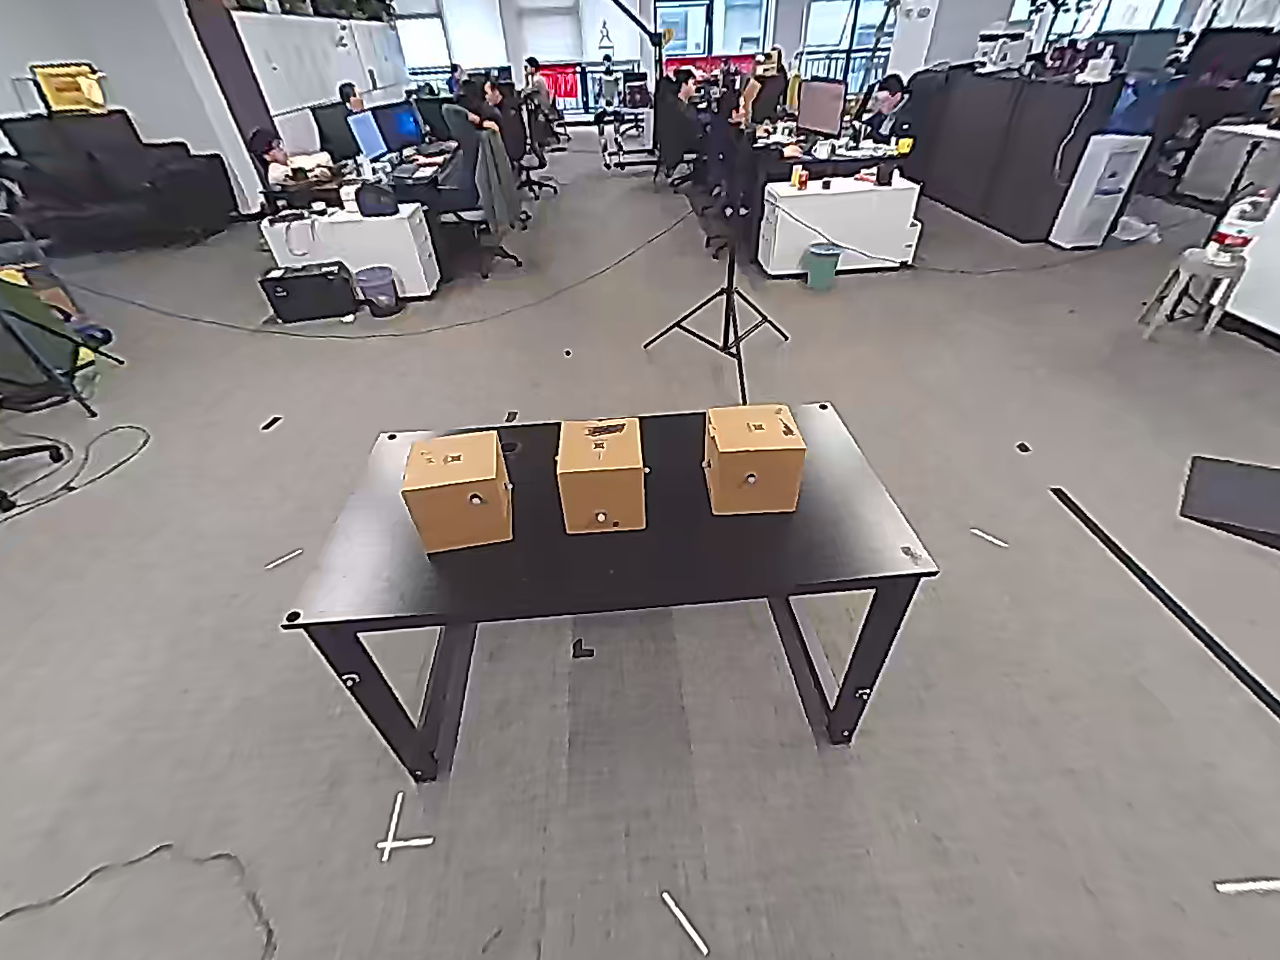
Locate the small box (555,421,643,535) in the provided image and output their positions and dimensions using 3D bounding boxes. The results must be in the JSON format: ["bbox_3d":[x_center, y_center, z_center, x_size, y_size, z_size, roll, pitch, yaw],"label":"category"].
[{"bbox_3d":[-0.081,-0.004,1.141,0.168,0.176,0.179,-4,40,-1],"label":"small box"}]

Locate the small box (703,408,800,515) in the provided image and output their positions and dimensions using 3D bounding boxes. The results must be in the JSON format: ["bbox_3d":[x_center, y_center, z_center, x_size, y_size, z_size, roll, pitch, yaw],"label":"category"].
[{"bbox_3d":[0.231,-0.037,1.161,0.179,0.176,0.168,-4,39,1],"label":"small box"}]

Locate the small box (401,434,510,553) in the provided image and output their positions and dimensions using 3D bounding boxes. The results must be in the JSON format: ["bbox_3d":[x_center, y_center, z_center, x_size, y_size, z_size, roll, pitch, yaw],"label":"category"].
[{"bbox_3d":[-0.368,0.029,1.117,0.179,0.176,0.168,-9,40,-7],"label":"small box"}]
